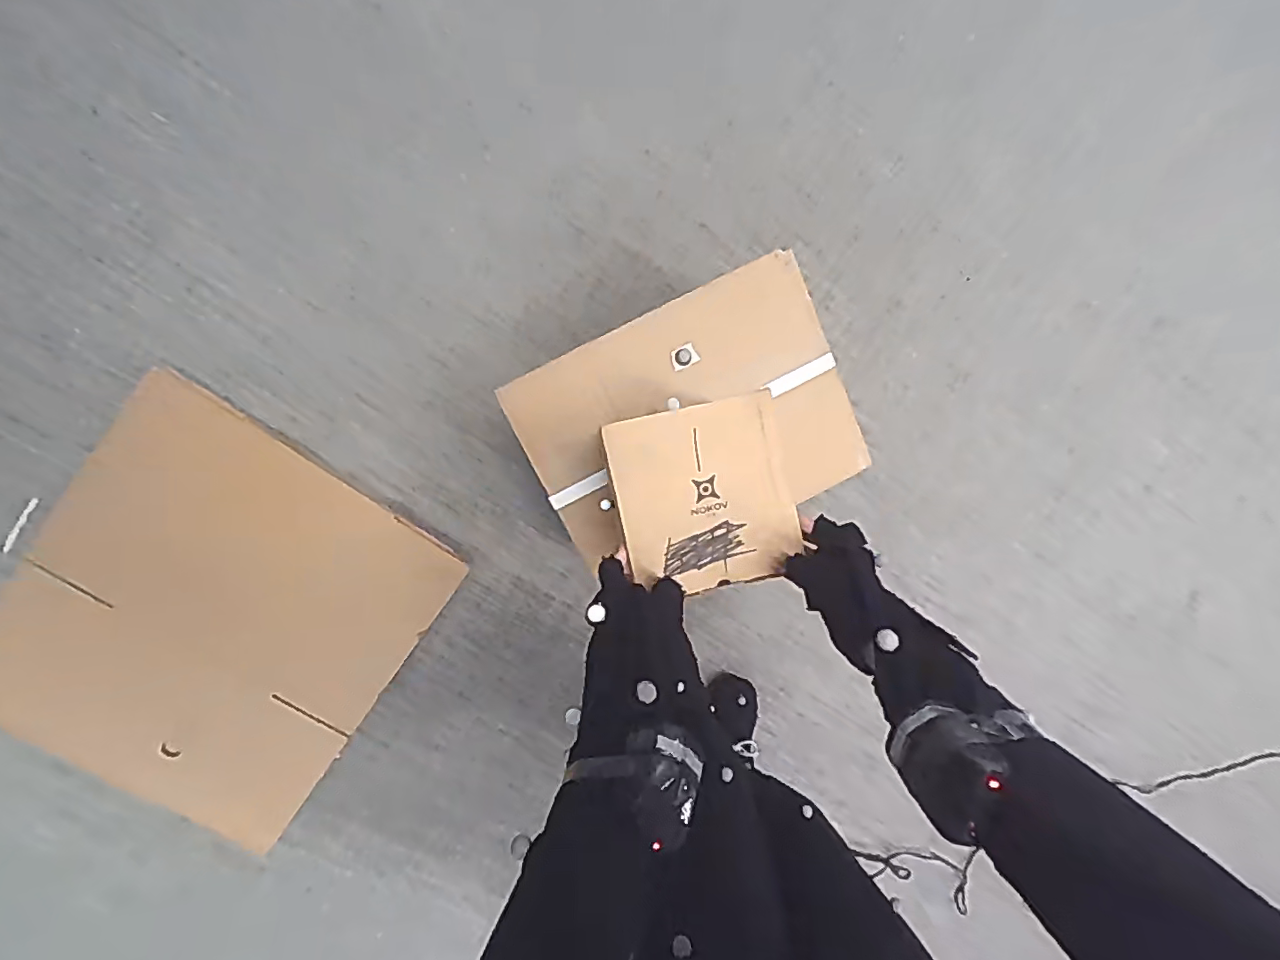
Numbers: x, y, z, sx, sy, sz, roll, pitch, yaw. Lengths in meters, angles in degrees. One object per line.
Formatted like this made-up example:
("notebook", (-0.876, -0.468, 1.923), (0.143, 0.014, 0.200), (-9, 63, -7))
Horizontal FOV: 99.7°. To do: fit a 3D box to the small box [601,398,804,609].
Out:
("small box", (0.057, 0.019, 0.588), (0.168, 0.176, 0.179), (-13, 92, -4))
